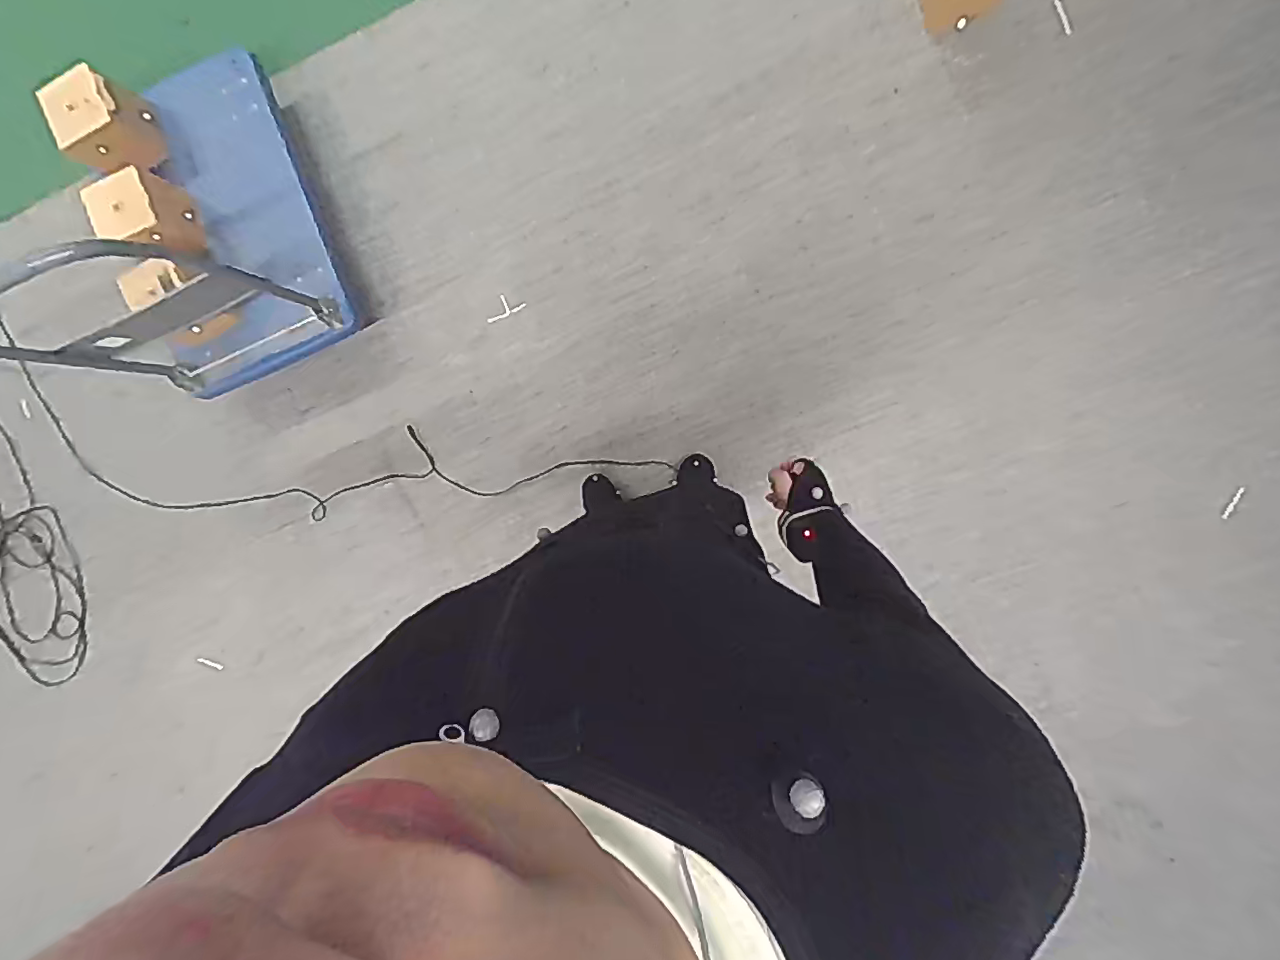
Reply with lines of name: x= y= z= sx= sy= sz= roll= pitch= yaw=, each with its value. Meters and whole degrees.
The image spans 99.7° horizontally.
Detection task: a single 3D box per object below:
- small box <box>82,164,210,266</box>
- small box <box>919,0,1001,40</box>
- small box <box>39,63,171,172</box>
small box: x=-1.358 y=-0.723 z=1.497 sx=0.179 sy=0.176 sz=0.168 roll=-21 pitch=91 yaw=5
small box: x=0.857 y=-1.330 z=1.425 sx=0.168 sy=0.176 sz=0.179 roll=-16 pitch=91 yaw=7
small box: x=-1.465 y=-0.982 z=1.490 sx=0.179 sy=0.176 sz=0.168 roll=-22 pitch=92 yaw=6
